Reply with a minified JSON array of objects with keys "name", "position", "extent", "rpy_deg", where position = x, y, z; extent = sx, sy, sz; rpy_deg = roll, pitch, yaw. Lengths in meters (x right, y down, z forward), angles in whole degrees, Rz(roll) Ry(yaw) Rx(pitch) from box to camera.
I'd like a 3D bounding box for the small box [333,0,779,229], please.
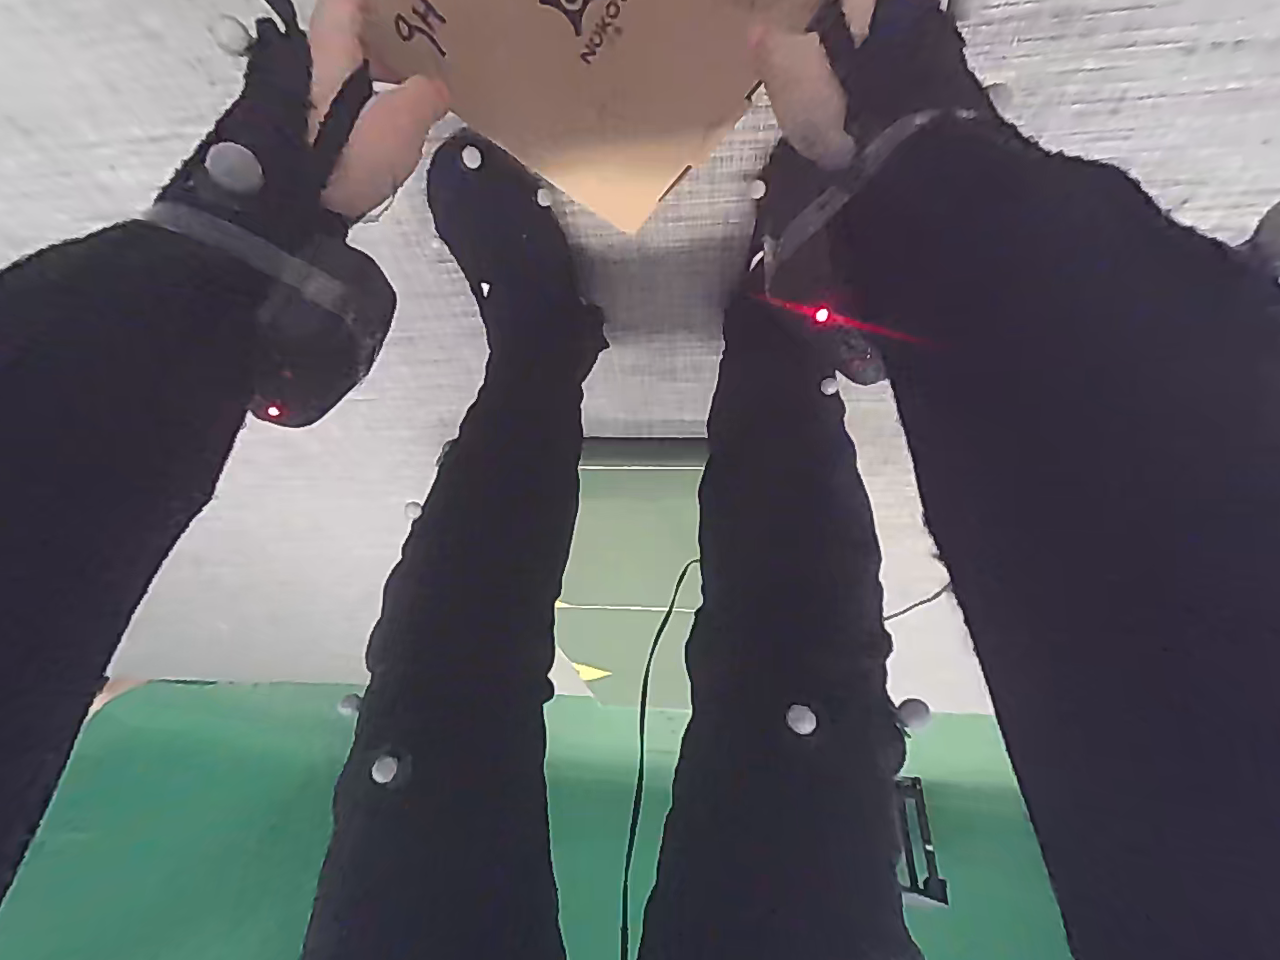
[{"name":"small box","position":[-0.044,-0.301,0.318],"extent":[0.179,0.176,0.168],"rpy_deg":[23,141,-31]}]
